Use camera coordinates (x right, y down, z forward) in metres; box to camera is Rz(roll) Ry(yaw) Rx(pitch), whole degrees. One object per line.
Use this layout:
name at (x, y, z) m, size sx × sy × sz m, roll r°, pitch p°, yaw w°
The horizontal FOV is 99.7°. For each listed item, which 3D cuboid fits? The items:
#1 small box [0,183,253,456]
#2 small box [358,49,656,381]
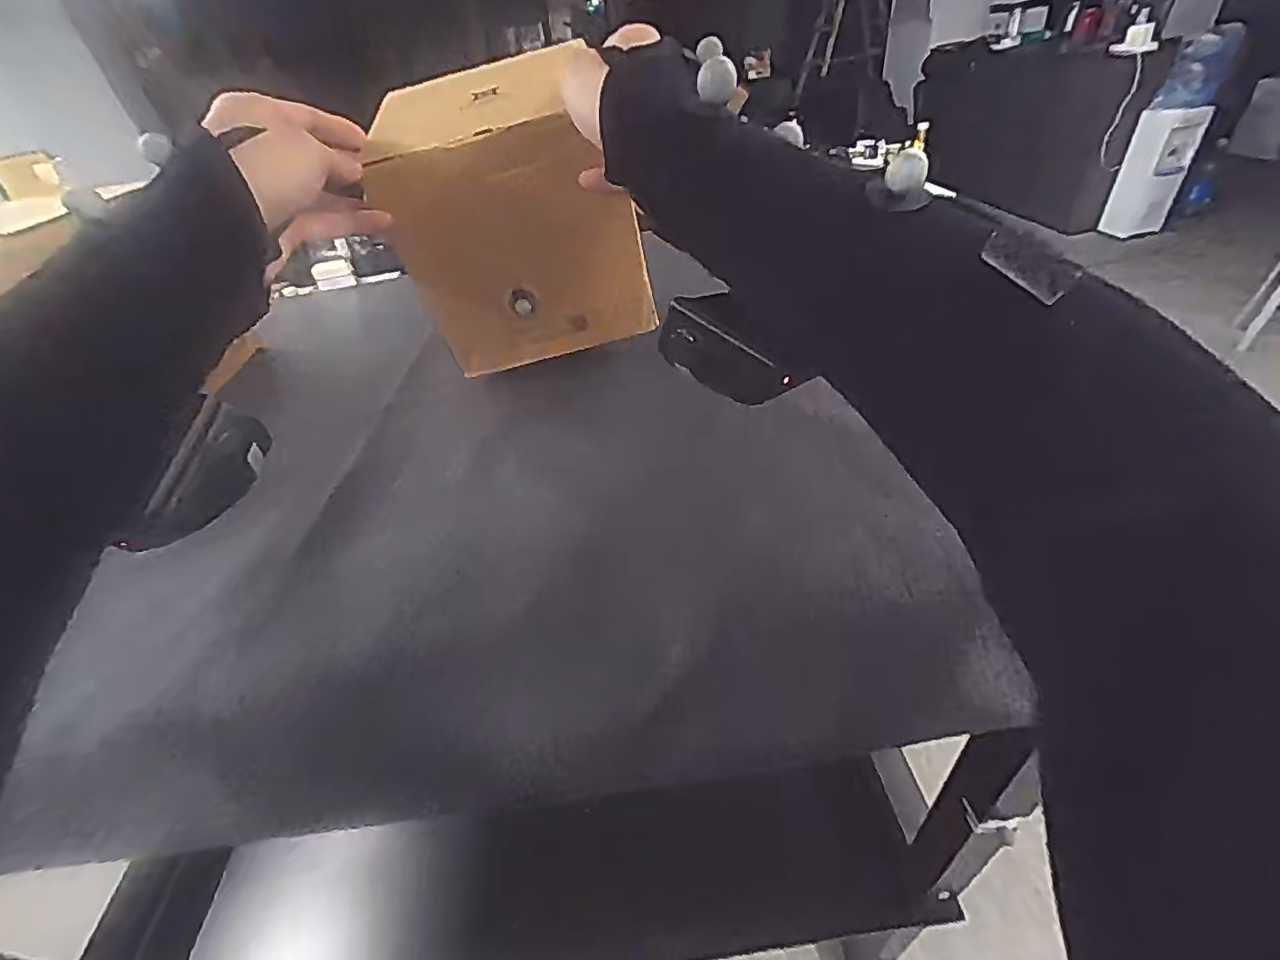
small box at (-0.488, -0.133, 0.466) m, size 0.168 × 0.176 × 0.179 m, roll -7°, pitch 41°, yaw 2°
small box at (-0.090, -0.210, 0.437) m, size 0.168 × 0.176 × 0.179 m, roll -15°, pitch 49°, yaw 2°
